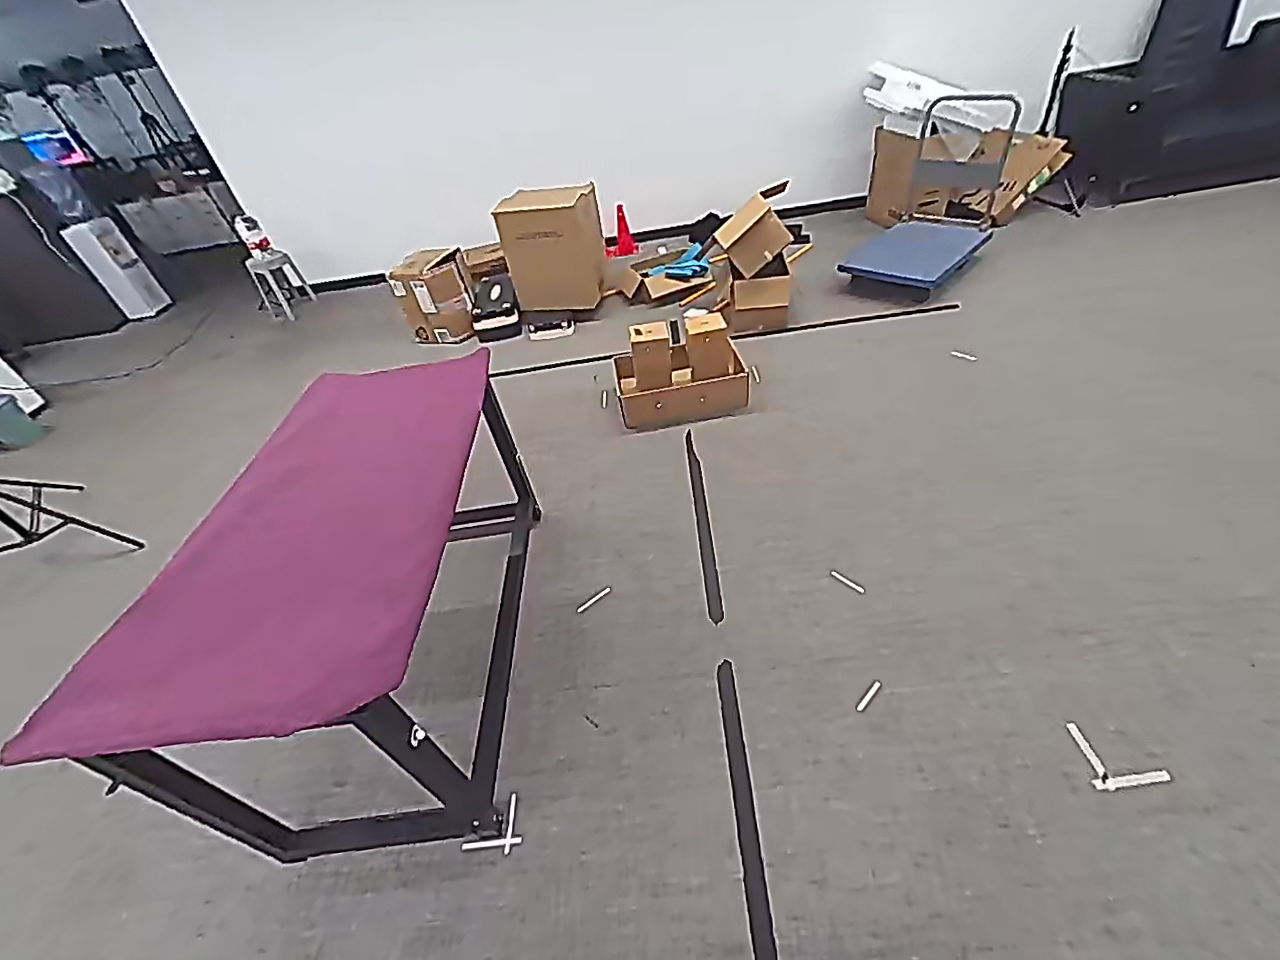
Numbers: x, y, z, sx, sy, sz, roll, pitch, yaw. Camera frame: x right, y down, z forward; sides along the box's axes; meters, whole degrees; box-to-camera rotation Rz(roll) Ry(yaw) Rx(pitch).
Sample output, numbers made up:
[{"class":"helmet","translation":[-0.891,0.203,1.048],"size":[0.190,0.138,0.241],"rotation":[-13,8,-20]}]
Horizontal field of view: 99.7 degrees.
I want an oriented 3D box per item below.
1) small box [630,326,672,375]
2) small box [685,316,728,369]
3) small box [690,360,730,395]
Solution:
[{"class":"small box","translation":[0.054,-0.611,2.569],"size":[0.179,0.176,0.168],"rotation":[-8,41,0]},{"class":"small box","translation":[0.319,-0.649,2.558],"size":[0.179,0.176,0.168],"rotation":[-11,41,2]},{"class":"small box","translation":[0.346,-0.530,2.665],"size":[0.168,0.176,0.179],"rotation":[-10,40,1]}]
